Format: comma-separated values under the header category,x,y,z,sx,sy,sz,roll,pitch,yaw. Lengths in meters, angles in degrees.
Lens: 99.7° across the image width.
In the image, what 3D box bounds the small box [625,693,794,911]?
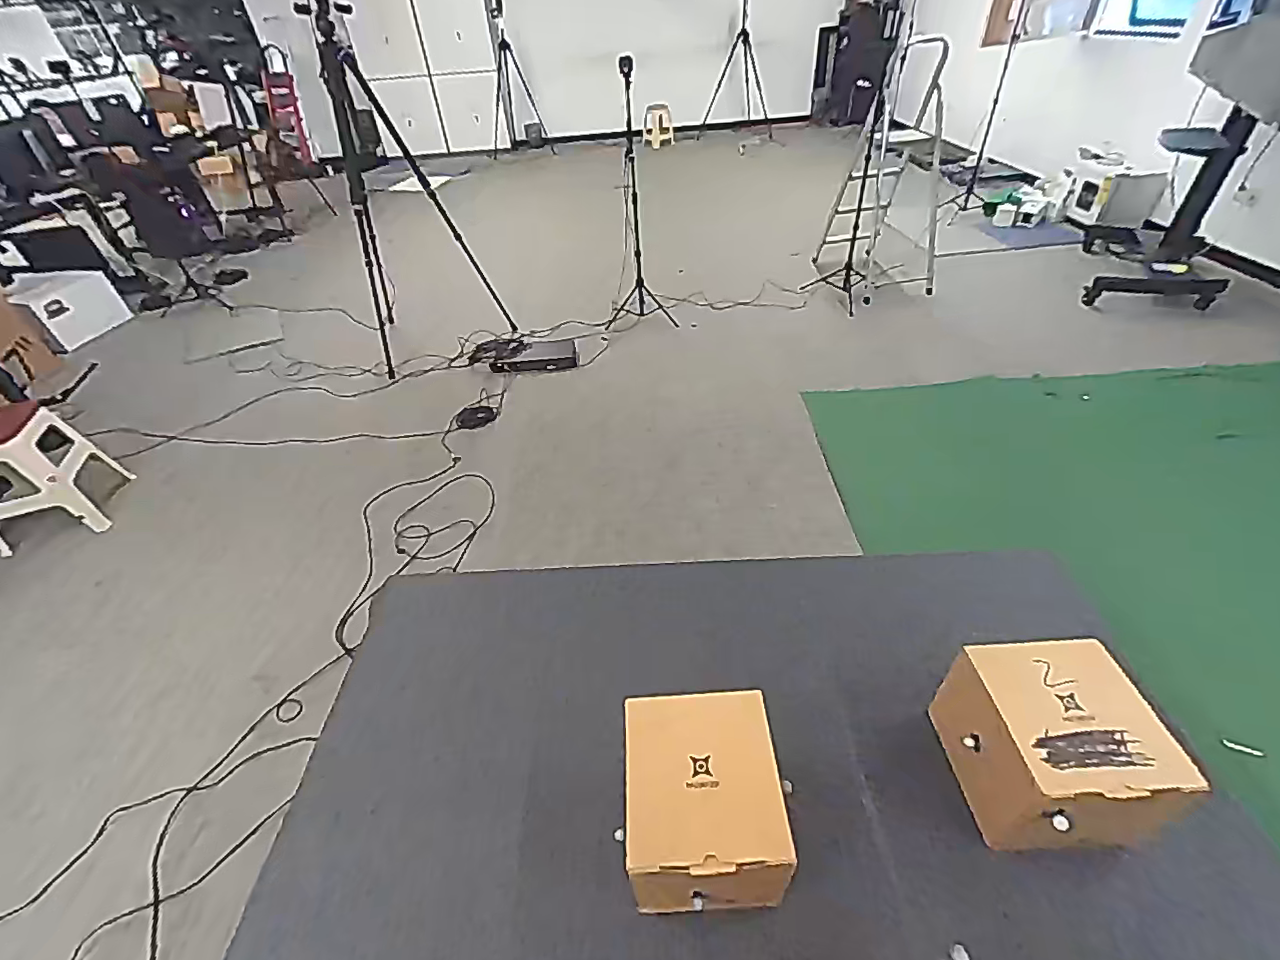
category,x,y,z,sx,sy,sz,roll,pitch,yaw
small box,0.068,0.374,0.633,0.168,0.176,0.179,-3,41,0
